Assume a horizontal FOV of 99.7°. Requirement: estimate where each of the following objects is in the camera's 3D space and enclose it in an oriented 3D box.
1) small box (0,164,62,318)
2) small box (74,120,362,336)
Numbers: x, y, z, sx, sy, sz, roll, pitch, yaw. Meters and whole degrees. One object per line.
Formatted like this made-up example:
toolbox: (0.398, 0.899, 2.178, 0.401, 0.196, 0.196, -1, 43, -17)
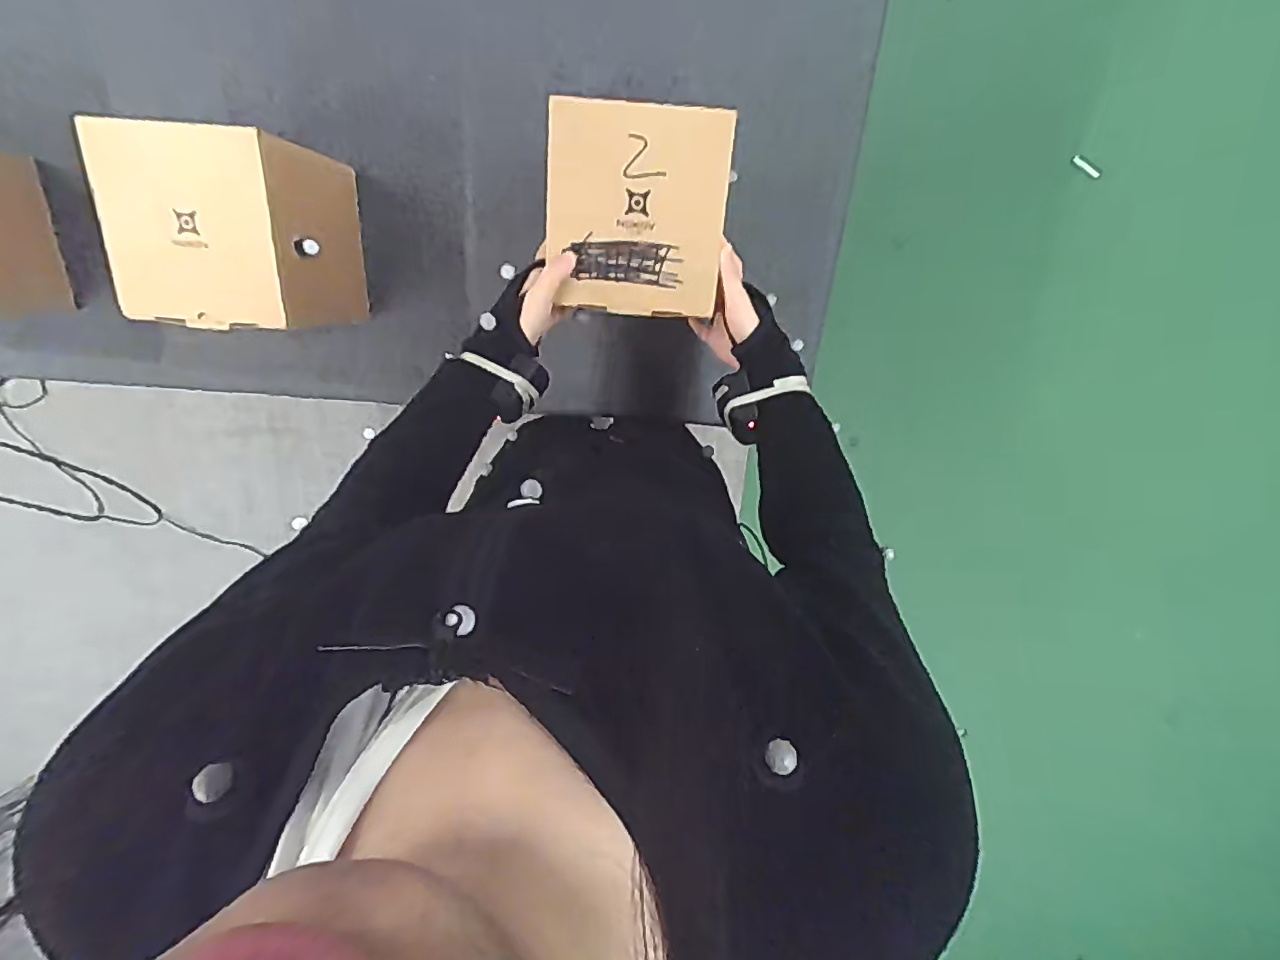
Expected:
small box: (-0.799, -0.268, 0.577, 0.168, 0.176, 0.179, 3, 109, 0)
small box: (-0.425, -0.256, 0.581, 0.168, 0.176, 0.179, 4, 109, -1)
